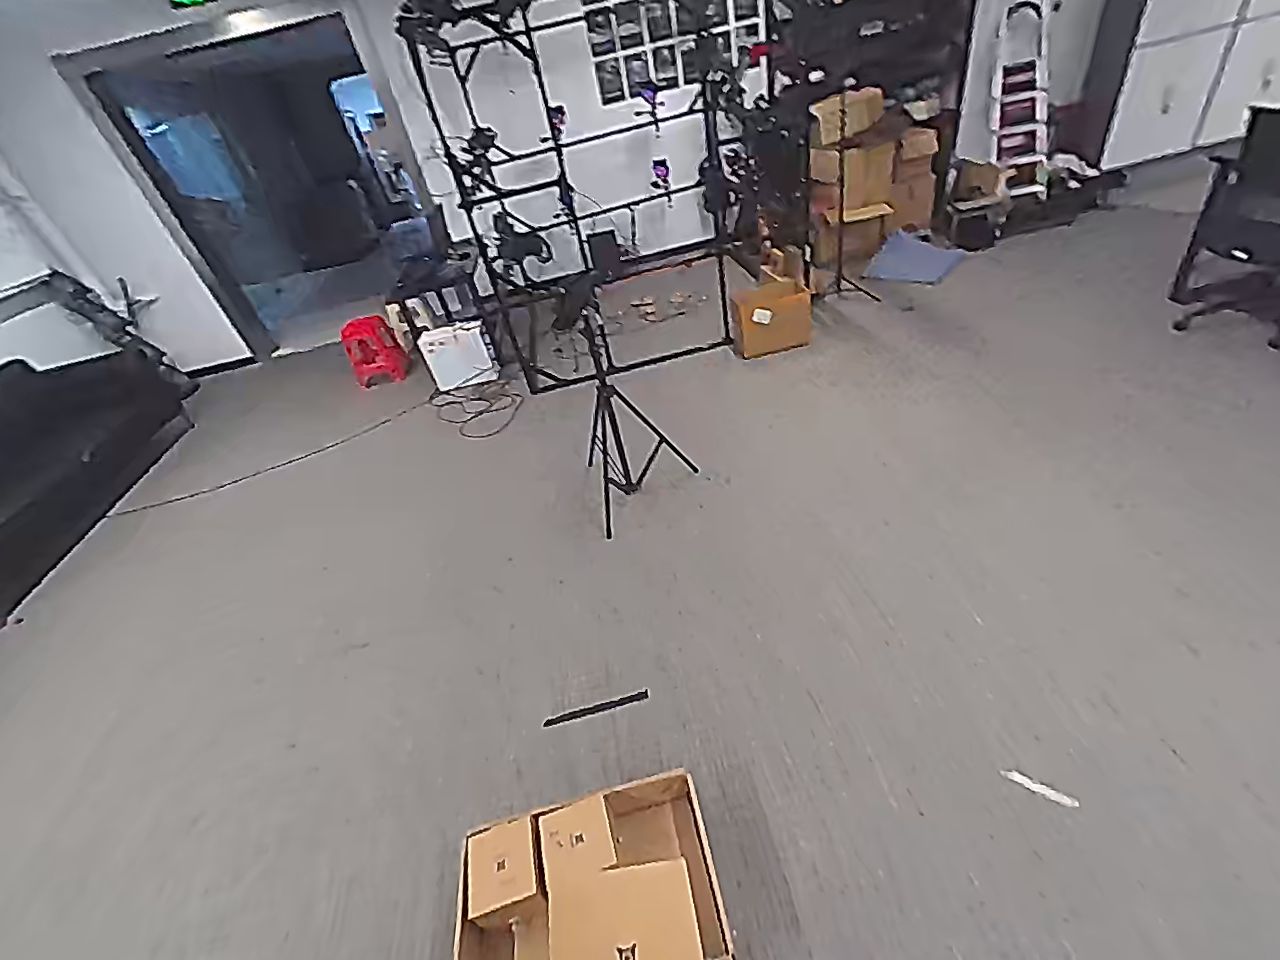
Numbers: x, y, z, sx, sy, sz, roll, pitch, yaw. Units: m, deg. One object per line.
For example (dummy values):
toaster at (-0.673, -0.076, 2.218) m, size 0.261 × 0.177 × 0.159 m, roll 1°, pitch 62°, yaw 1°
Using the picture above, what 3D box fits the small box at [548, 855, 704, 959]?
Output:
small box at (-0.019, 0.567, 0.615) m, size 0.168 × 0.176 × 0.179 m, roll -4°, pitch 39°, yaw -9°

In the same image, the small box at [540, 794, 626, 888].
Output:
small box at (-0.138, 0.935, 1.365) m, size 0.179 × 0.176 × 0.168 m, roll -17°, pitch 38°, yaw -6°
